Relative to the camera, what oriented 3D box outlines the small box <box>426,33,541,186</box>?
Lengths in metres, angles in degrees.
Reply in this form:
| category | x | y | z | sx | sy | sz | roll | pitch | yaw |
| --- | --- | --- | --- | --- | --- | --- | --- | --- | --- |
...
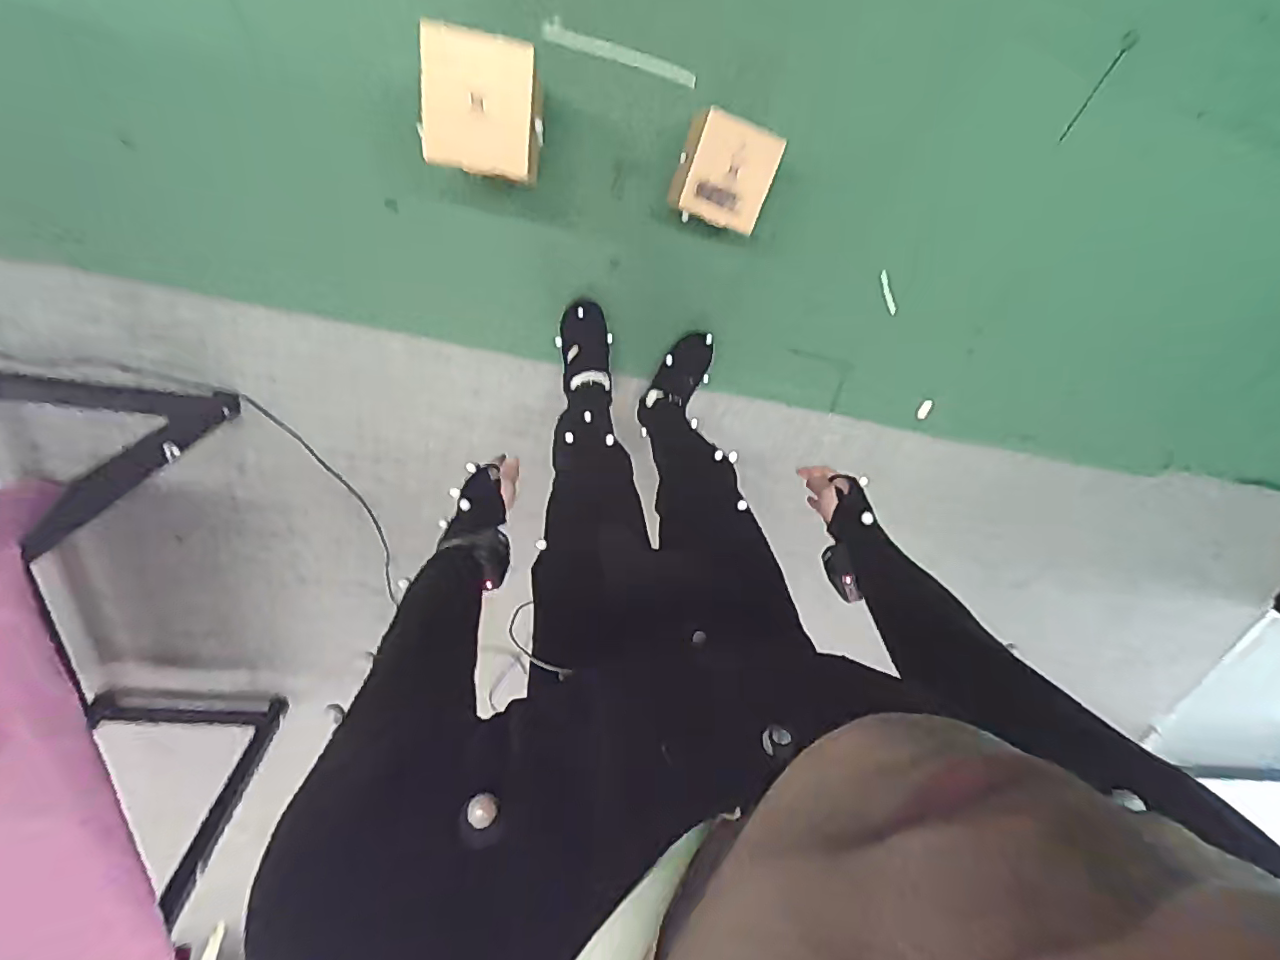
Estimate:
| category | x | y | z | sx | sy | sz | roll | pitch | yaw |
| --- | --- | --- | --- | --- | --- | --- | --- | --- | --- |
| small box | -0.259 | -0.610 | 0.914 | 0.168 | 0.176 | 0.179 | 6 | 118 | -10 |

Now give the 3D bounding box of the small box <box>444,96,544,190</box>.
| category | x | y | z | sx | sy | sz | roll | pitch | yaw |
| --- | --- | --- | --- | --- | --- | --- | --- | --- | --- |
| small box | -0.280 | -0.681 | 1.059 | 0.168 | 0.176 | 0.179 | 7 | 117 | -10 |
